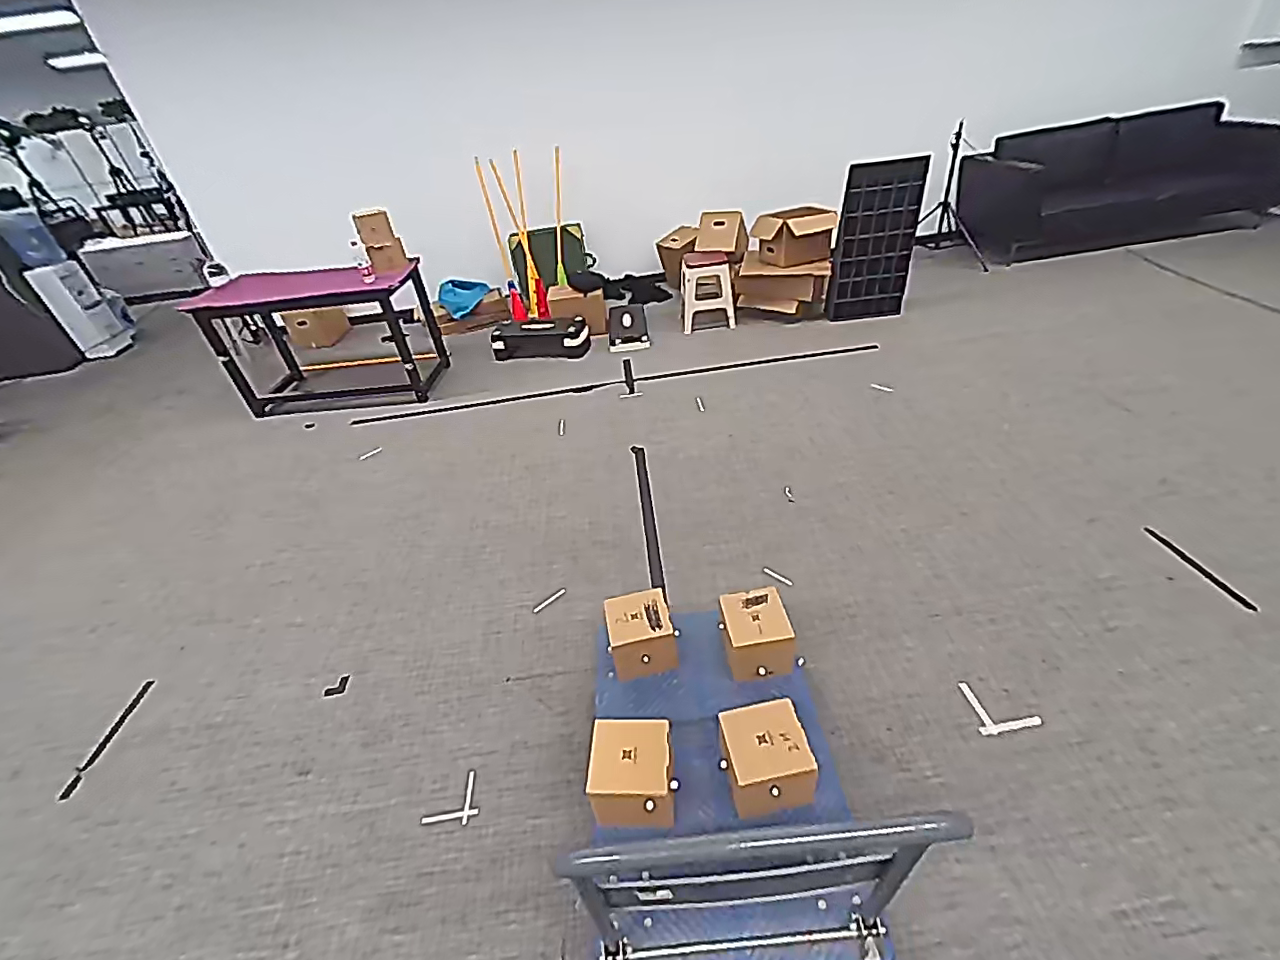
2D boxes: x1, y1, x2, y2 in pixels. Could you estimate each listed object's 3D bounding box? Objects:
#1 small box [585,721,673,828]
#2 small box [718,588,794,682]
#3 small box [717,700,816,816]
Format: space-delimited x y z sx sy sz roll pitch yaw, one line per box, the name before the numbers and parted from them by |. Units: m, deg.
small box | -0.018 0.676 1.240 0.179 0.176 0.168 -2 36 5
small box | 0.315 0.430 1.502 0.168 0.176 0.179 -9 38 -1
small box | 0.283 0.637 1.234 0.179 0.176 0.168 -11 37 -3
